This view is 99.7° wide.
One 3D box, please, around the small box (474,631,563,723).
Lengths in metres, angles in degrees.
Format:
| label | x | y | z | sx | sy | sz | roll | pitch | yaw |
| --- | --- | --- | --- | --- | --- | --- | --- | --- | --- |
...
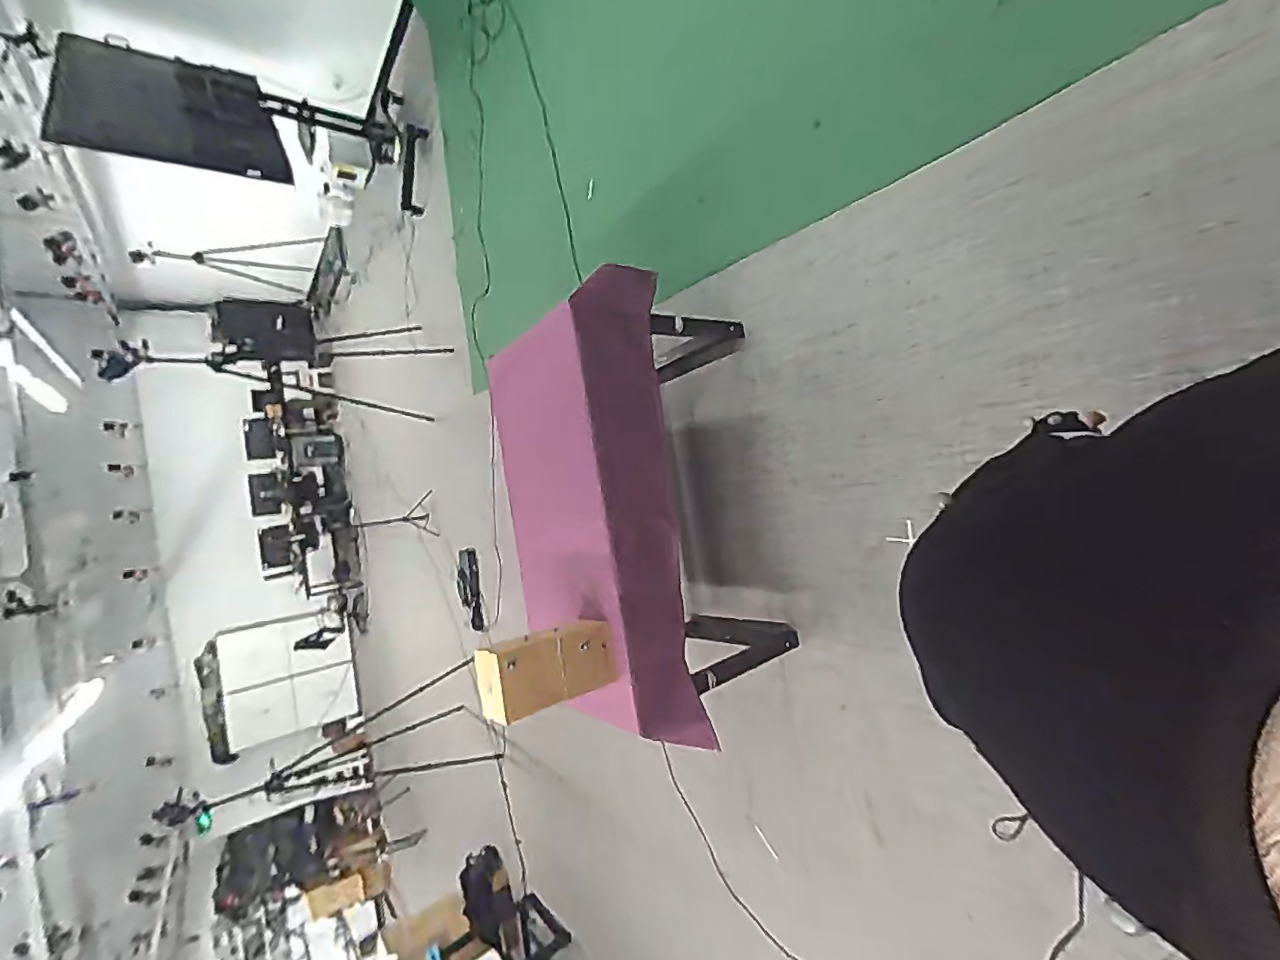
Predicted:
| label | x | y | z | sx | sy | sz | roll | pitch | yaw |
| --- | --- | --- | --- | --- | --- | --- | --- | --- | --- |
| small box | -0.317 | 0.508 | 1.420 | 0.168 | 0.176 | 0.179 | -18 | 81 | 52 |

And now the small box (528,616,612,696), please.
| label | x | y | z | sx | sy | sz | roll | pitch | yaw |
| --- | --- | --- | --- | --- | --- | --- | --- | --- | --- |
| small box | -0.190 | 0.487 | 1.519 | 0.179 | 0.176 | 0.168 | -14 | 84 | 53 |
